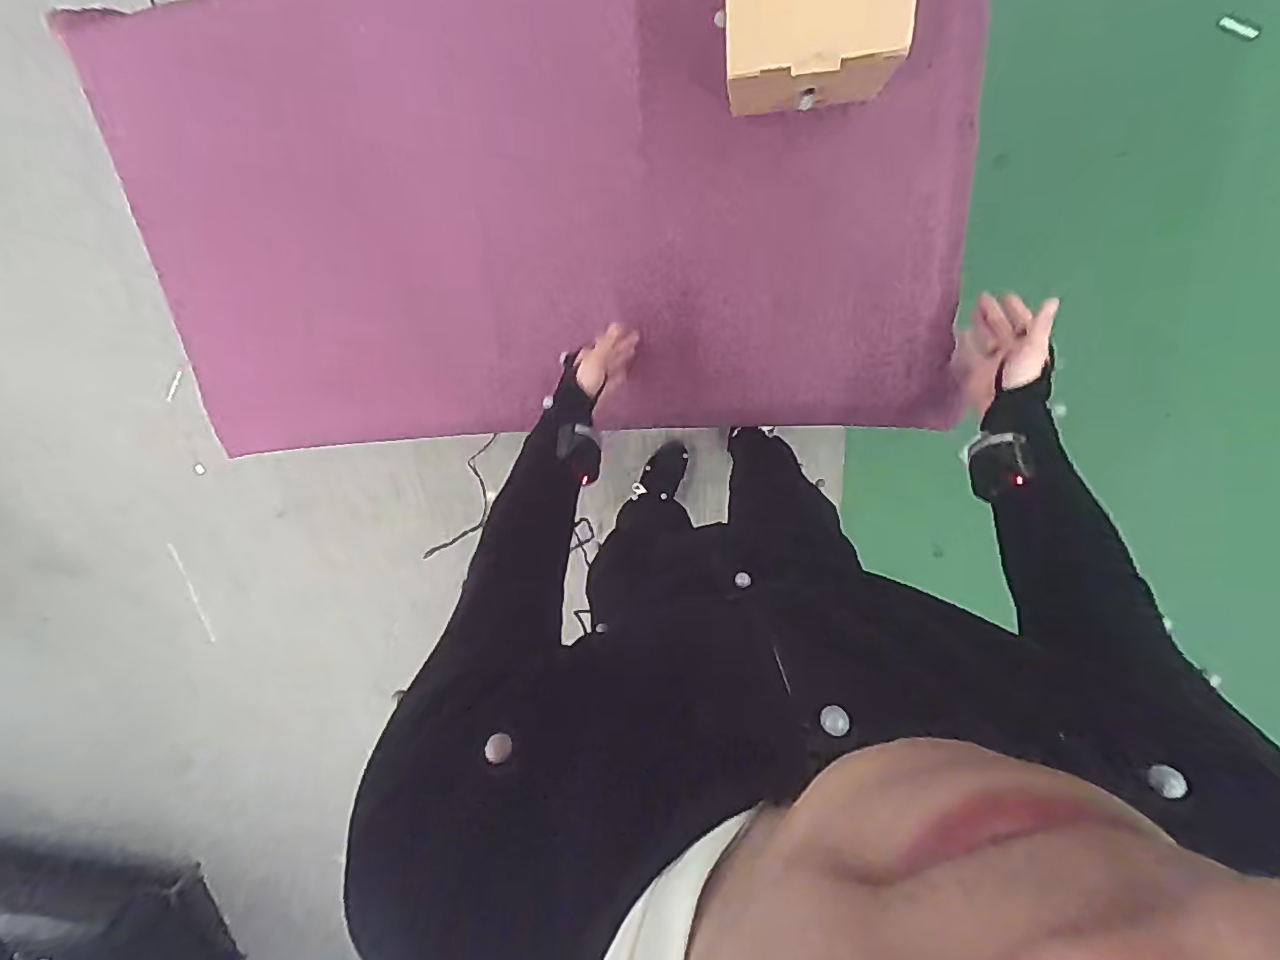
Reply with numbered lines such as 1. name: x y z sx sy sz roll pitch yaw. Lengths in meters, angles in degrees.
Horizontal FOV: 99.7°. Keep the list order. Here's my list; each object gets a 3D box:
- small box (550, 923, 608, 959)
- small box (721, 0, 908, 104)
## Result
1. small box: -0.205 1.603 1.770 0.168 0.176 0.179 4 112 10
2. small box: 0.170 -0.499 0.542 0.168 0.176 0.179 1 114 12
